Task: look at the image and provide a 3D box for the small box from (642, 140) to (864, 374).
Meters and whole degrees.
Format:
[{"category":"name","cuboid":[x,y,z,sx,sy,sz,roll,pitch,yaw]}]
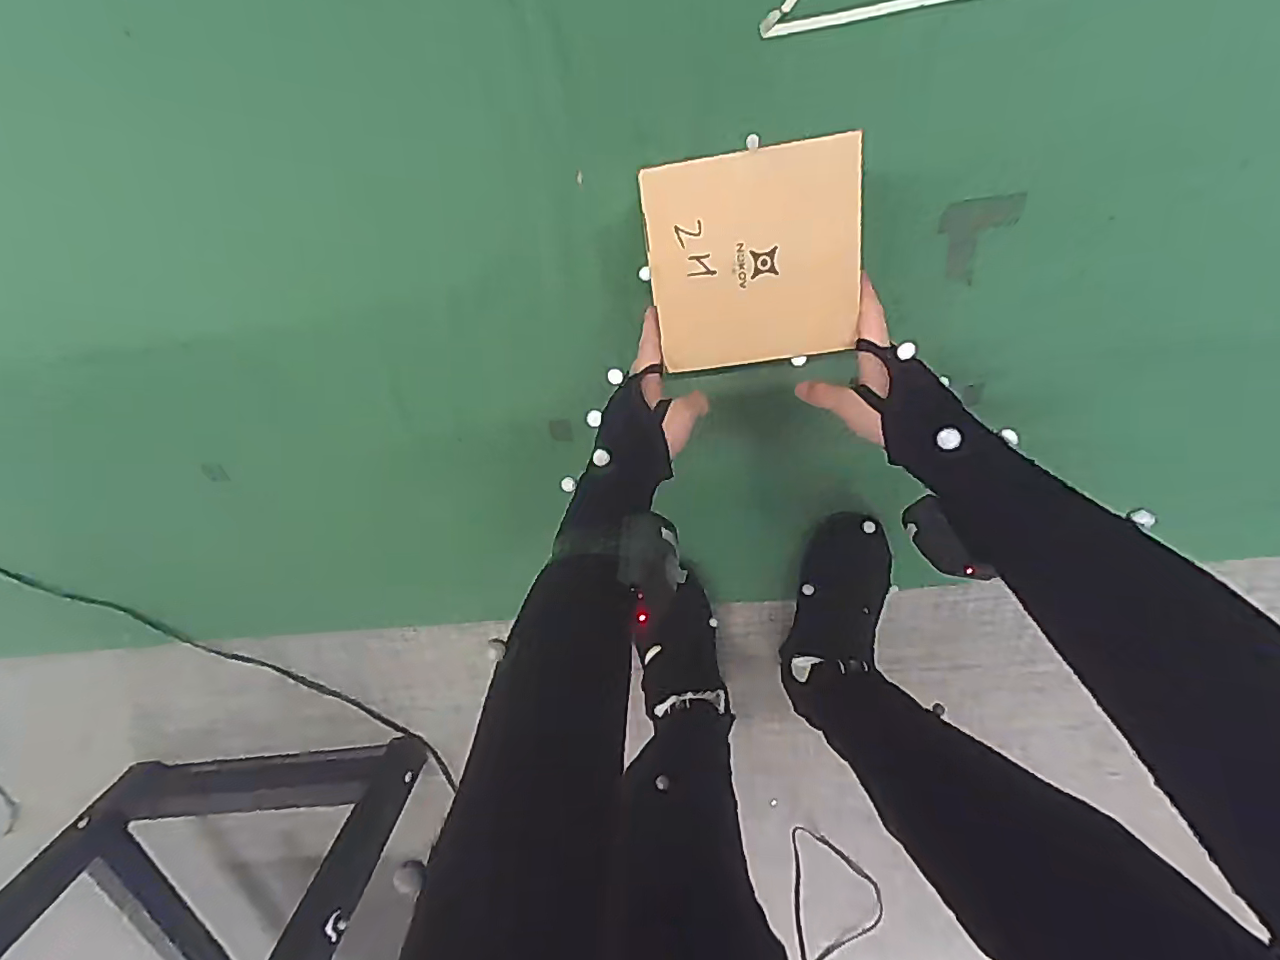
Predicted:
[{"category":"small box","cuboid":[0.101,-0.210,0.525,0.179,0.176,0.168,-6,112,7]}]
